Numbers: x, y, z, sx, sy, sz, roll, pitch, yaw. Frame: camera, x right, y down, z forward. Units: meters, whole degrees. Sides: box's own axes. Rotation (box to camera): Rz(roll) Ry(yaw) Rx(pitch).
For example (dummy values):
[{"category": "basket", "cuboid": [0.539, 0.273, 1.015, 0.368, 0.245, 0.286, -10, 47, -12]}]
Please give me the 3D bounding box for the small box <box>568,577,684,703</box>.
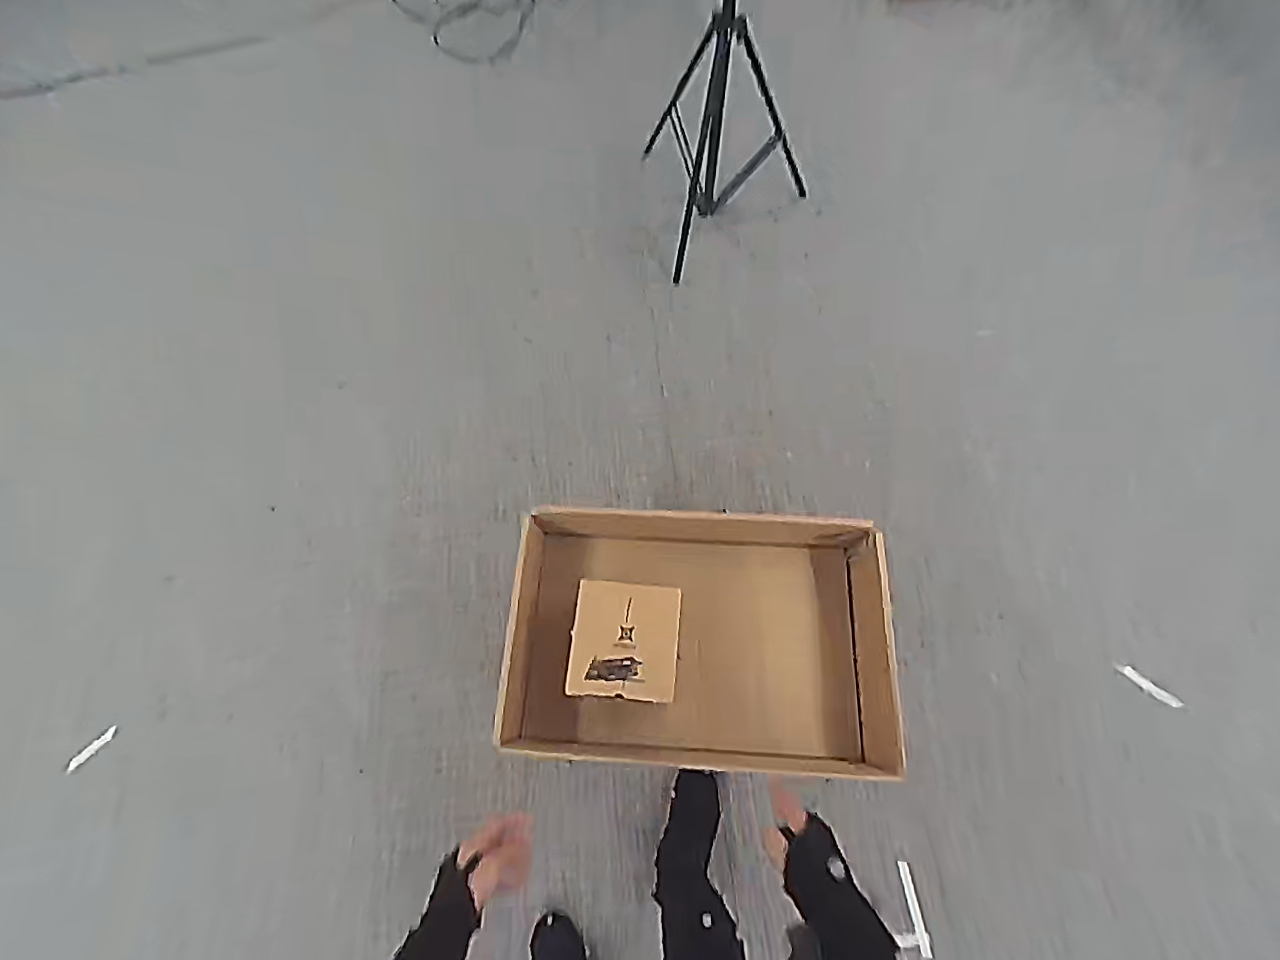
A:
[{"category": "small box", "cuboid": [-0.016, 0.274, 0.914, 0.168, 0.176, 0.179, 5, 68, 4]}]
